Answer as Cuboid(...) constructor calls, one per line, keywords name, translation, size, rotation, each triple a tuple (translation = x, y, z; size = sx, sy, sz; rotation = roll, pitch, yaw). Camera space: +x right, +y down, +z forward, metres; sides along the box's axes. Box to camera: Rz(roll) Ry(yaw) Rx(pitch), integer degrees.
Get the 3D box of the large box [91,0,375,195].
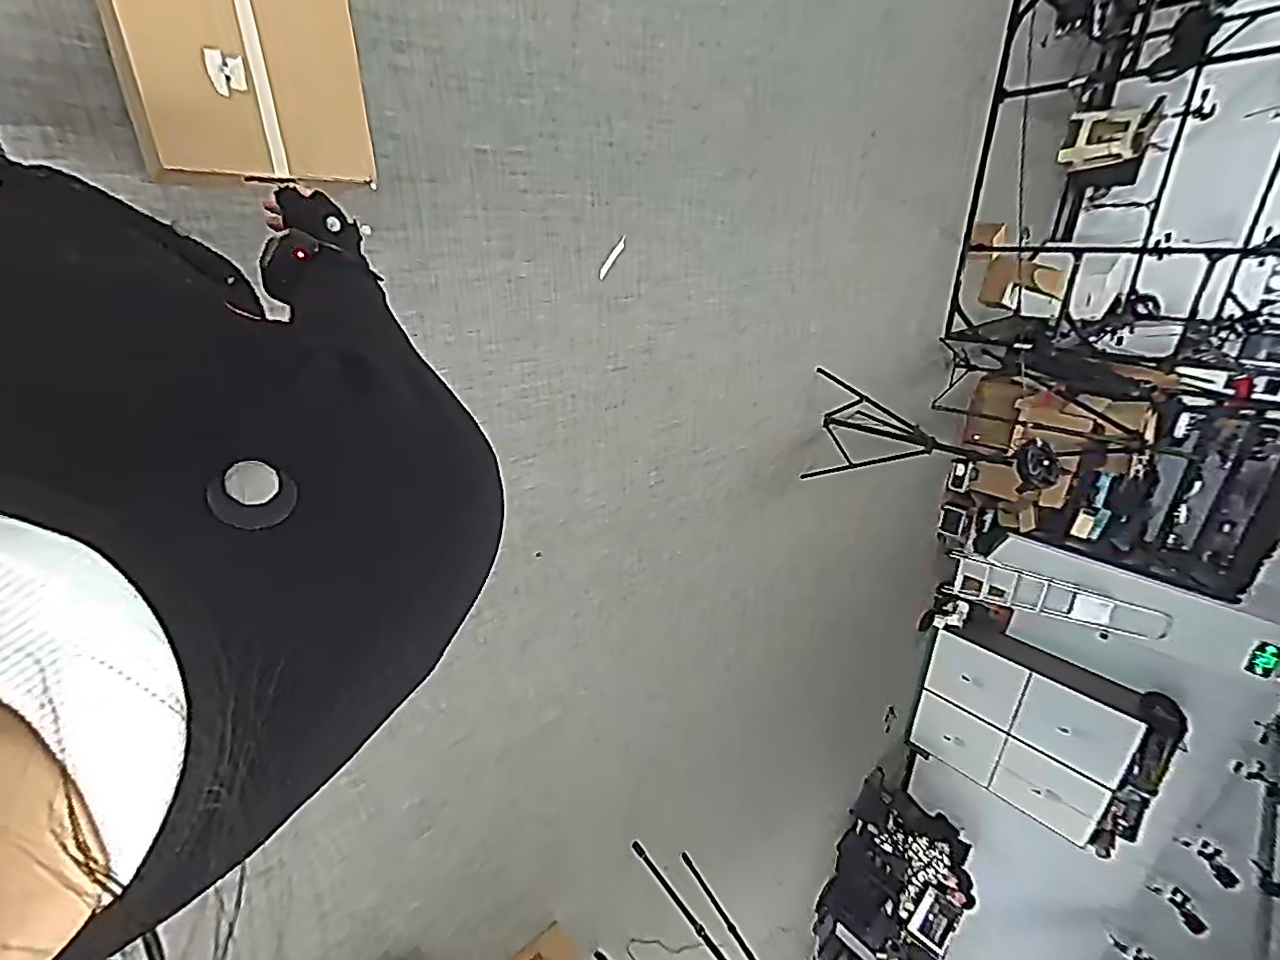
Cuboid(name="large box", translation=(-0.709, -0.733, 0.934), size=(0.320, 0.320, 0.408), rotation=(-20, 121, -37))
